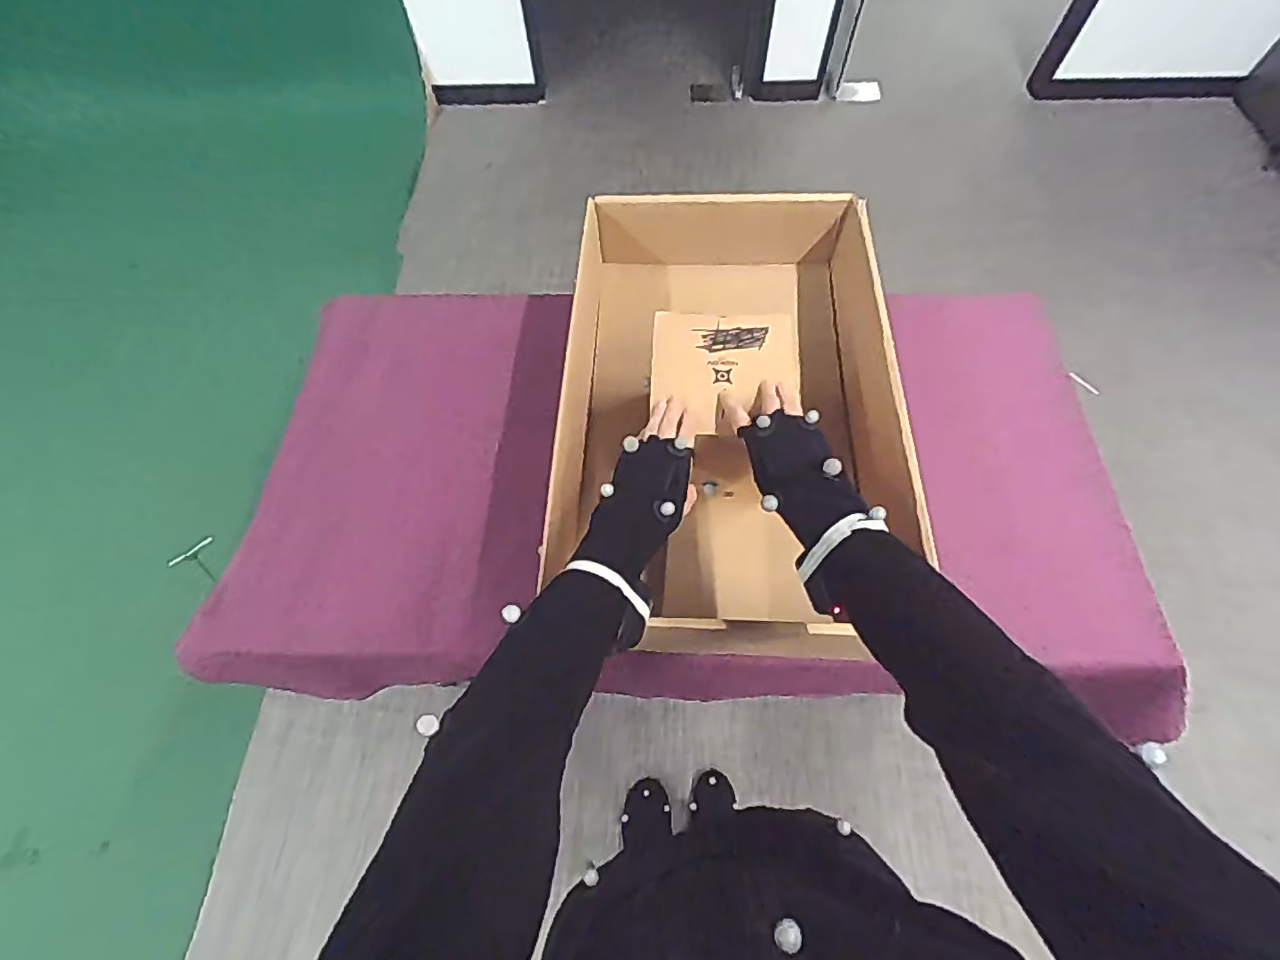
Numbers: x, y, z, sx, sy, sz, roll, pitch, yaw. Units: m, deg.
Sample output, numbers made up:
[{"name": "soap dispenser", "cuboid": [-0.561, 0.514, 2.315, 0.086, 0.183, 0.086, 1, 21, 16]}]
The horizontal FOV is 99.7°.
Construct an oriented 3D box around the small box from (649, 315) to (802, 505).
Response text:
[{"name": "small box", "cuboid": [0.097, -0.084, 0.685, 0.168, 0.176, 0.179, 2, 64, 3]}]
